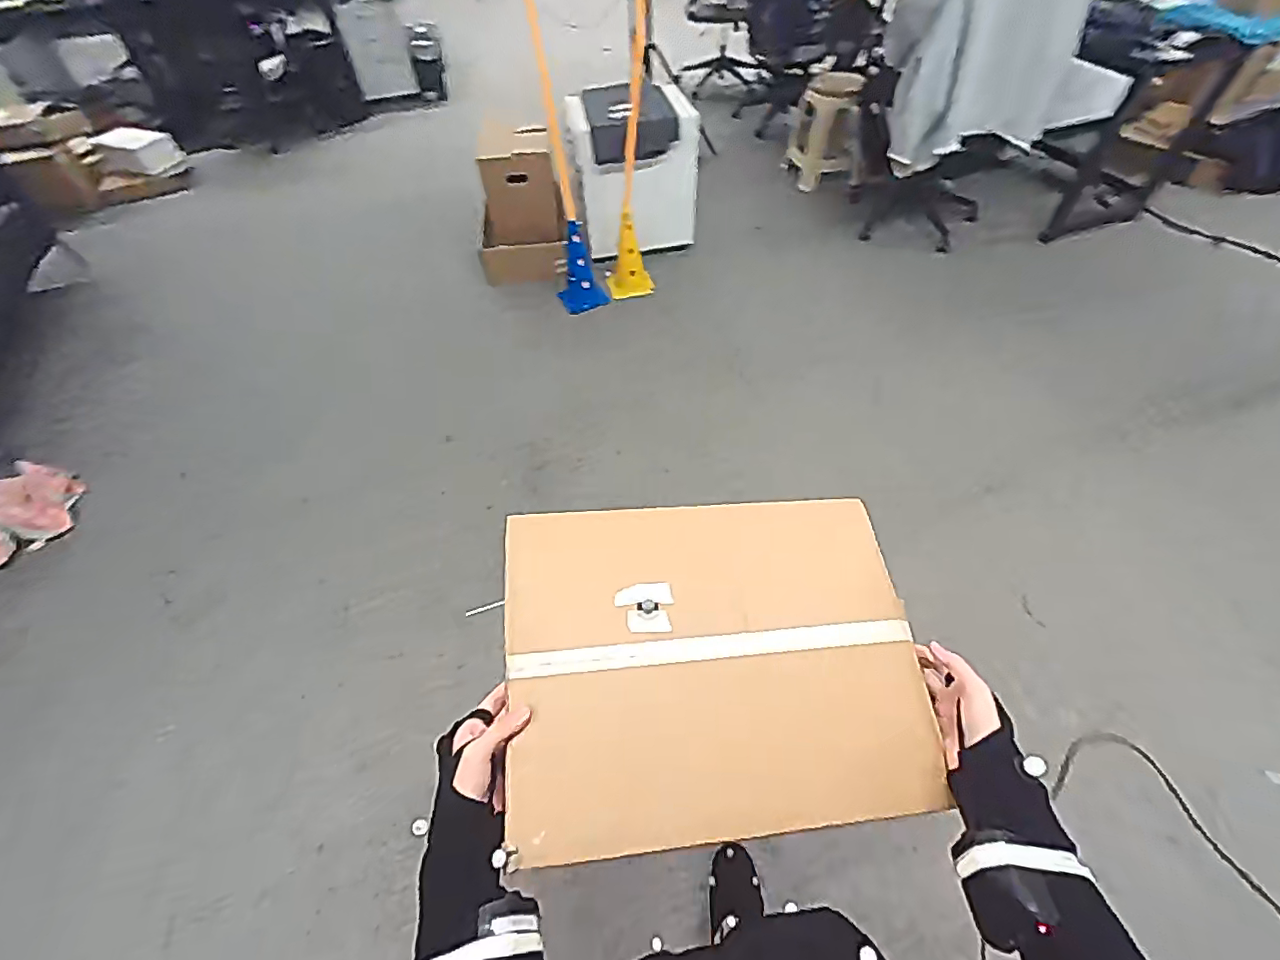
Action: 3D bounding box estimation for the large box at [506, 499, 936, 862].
[{"bbox_3d":[0.057,0.237,0.679,0.408,0.320,0.320,-3,63,-8],"label":"large box"}]
